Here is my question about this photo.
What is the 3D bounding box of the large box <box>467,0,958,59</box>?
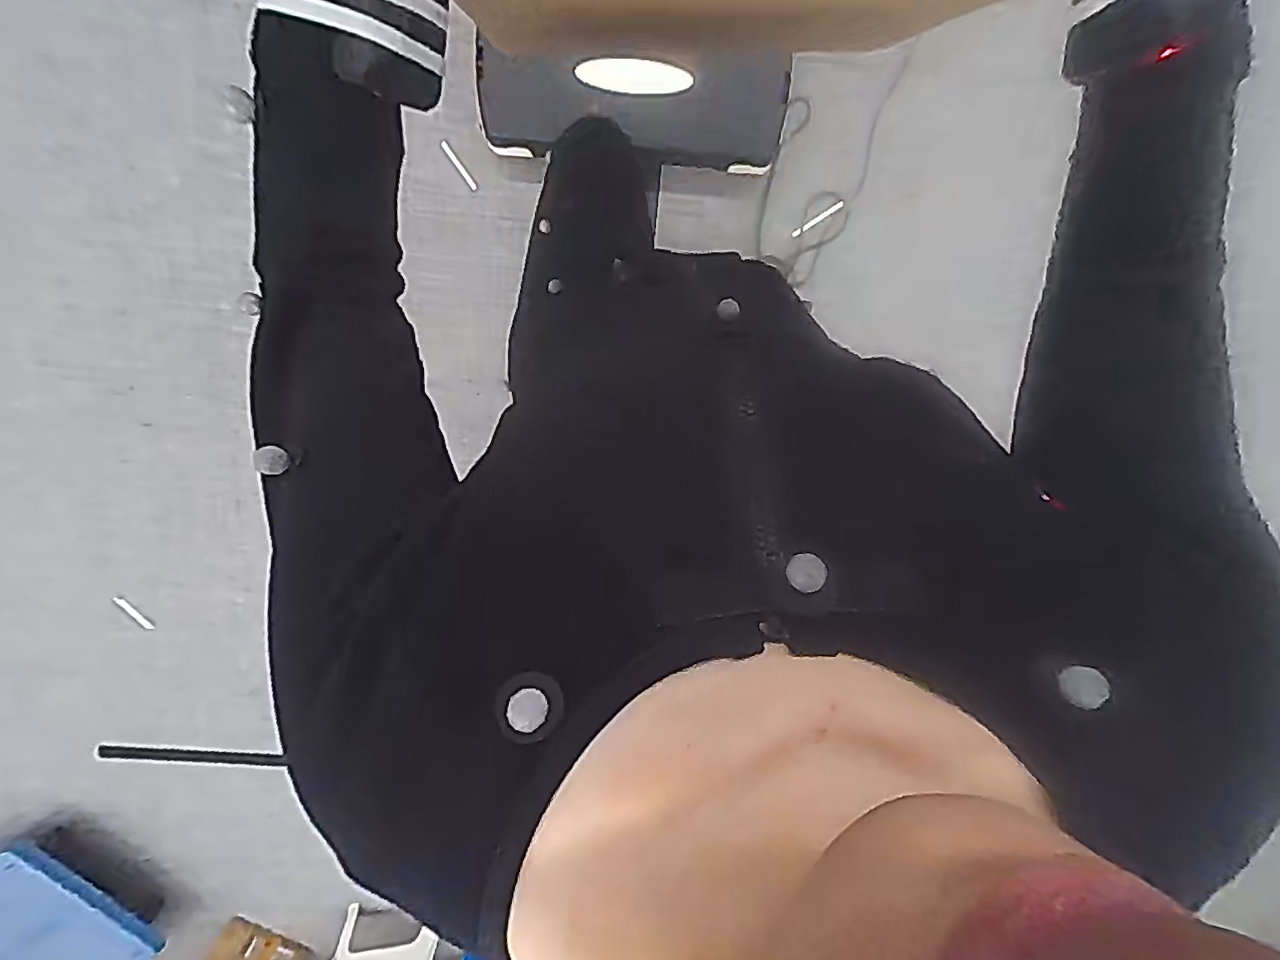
[{"bbox_3d":[0.059,-0.510,0.363,0.408,0.320,0.320,-3,120,-3],"label":"large box"}]
